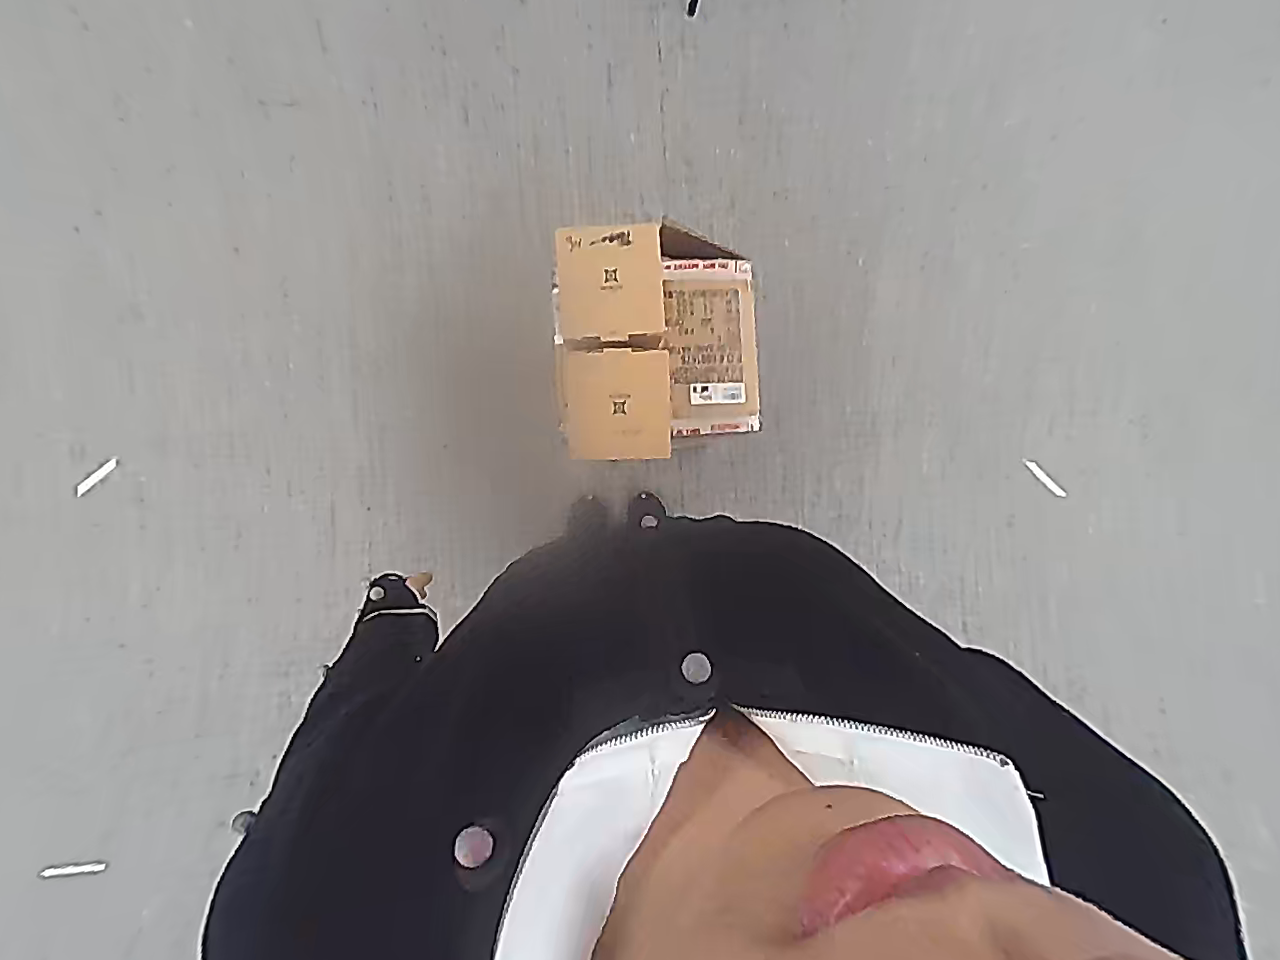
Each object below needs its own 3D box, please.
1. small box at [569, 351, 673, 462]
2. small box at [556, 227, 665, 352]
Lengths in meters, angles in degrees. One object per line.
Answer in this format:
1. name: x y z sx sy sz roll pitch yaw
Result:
1. small box: -0.035 -0.120 0.940 0.168 0.176 0.179 -2 93 -2
2. small box: -0.048 -0.312 0.931 0.168 0.176 0.179 -4 94 -3
